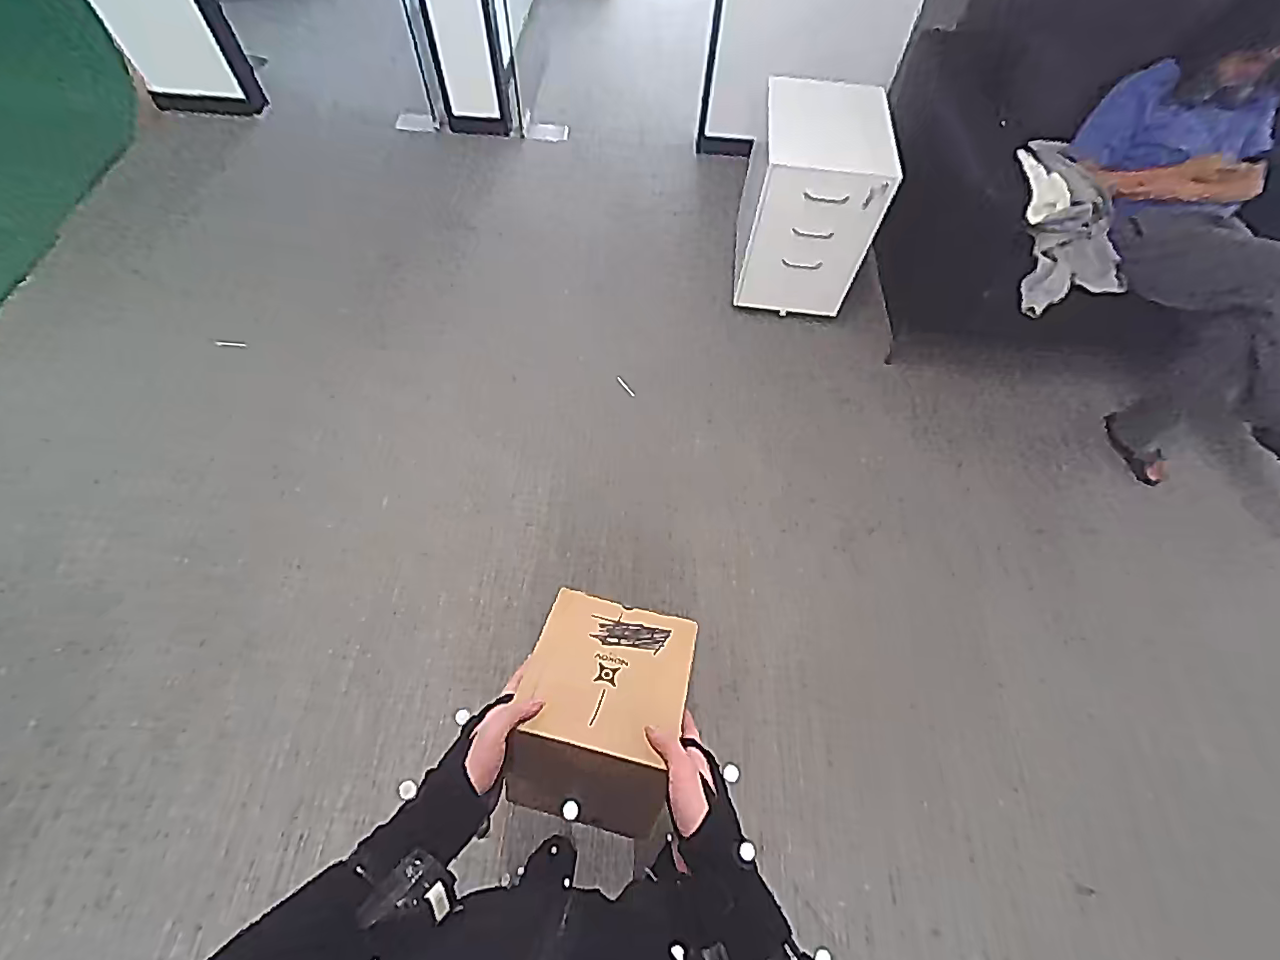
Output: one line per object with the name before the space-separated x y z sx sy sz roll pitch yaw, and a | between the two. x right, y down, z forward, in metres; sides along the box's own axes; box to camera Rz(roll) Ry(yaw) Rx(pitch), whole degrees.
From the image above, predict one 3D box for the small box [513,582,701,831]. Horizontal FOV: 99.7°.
small box | -0.036 0.251 0.610 0.168 0.176 0.179 13 37 5
